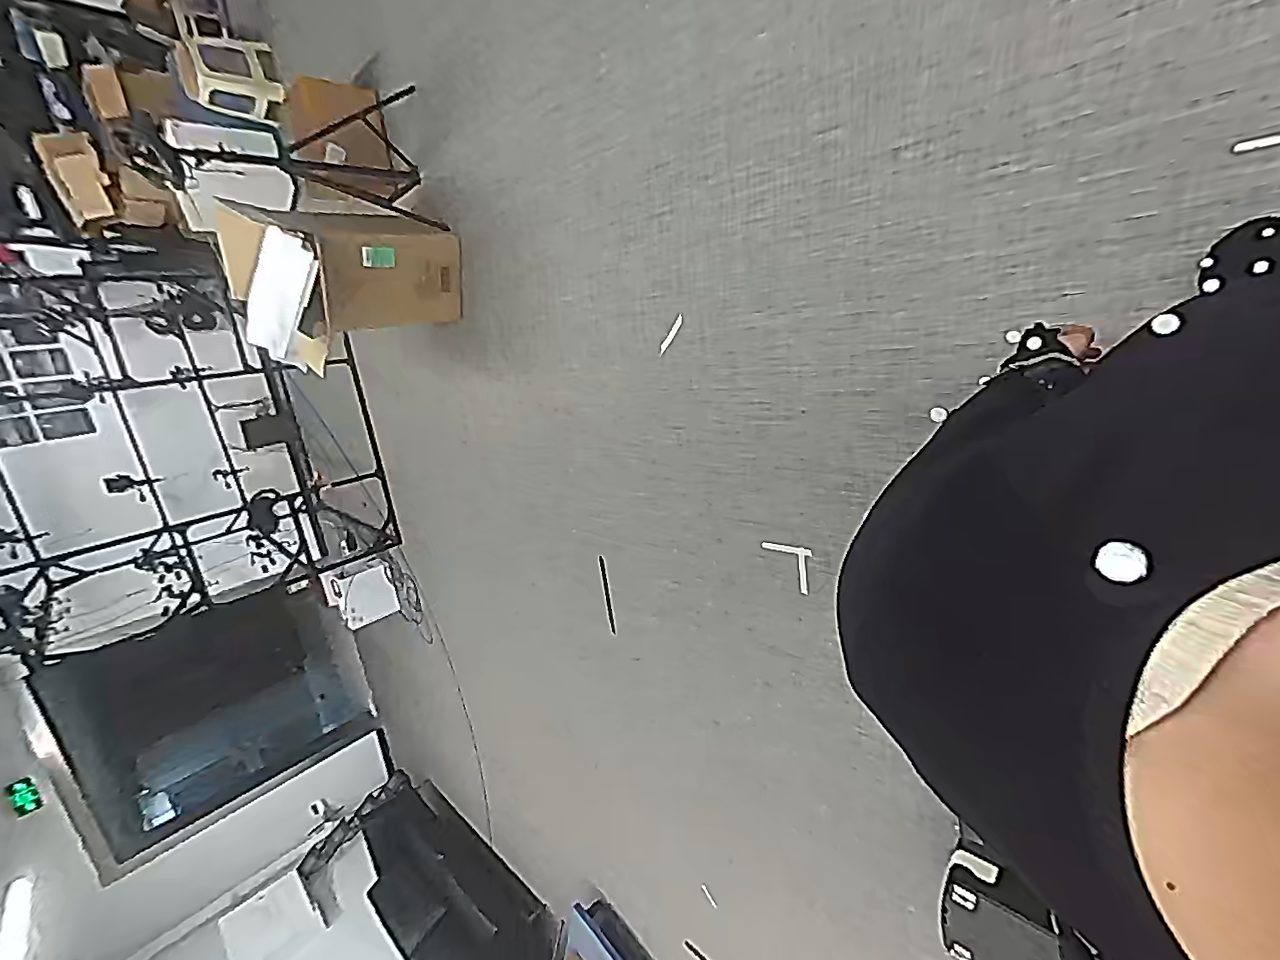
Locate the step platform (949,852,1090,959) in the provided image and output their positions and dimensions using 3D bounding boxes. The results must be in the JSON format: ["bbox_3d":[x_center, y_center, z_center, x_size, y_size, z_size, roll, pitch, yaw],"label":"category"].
[{"bbox_3d":[1.104,1.225,1.243,0.684,0.204,0.286,15,115,44],"label":"step platform"}]
